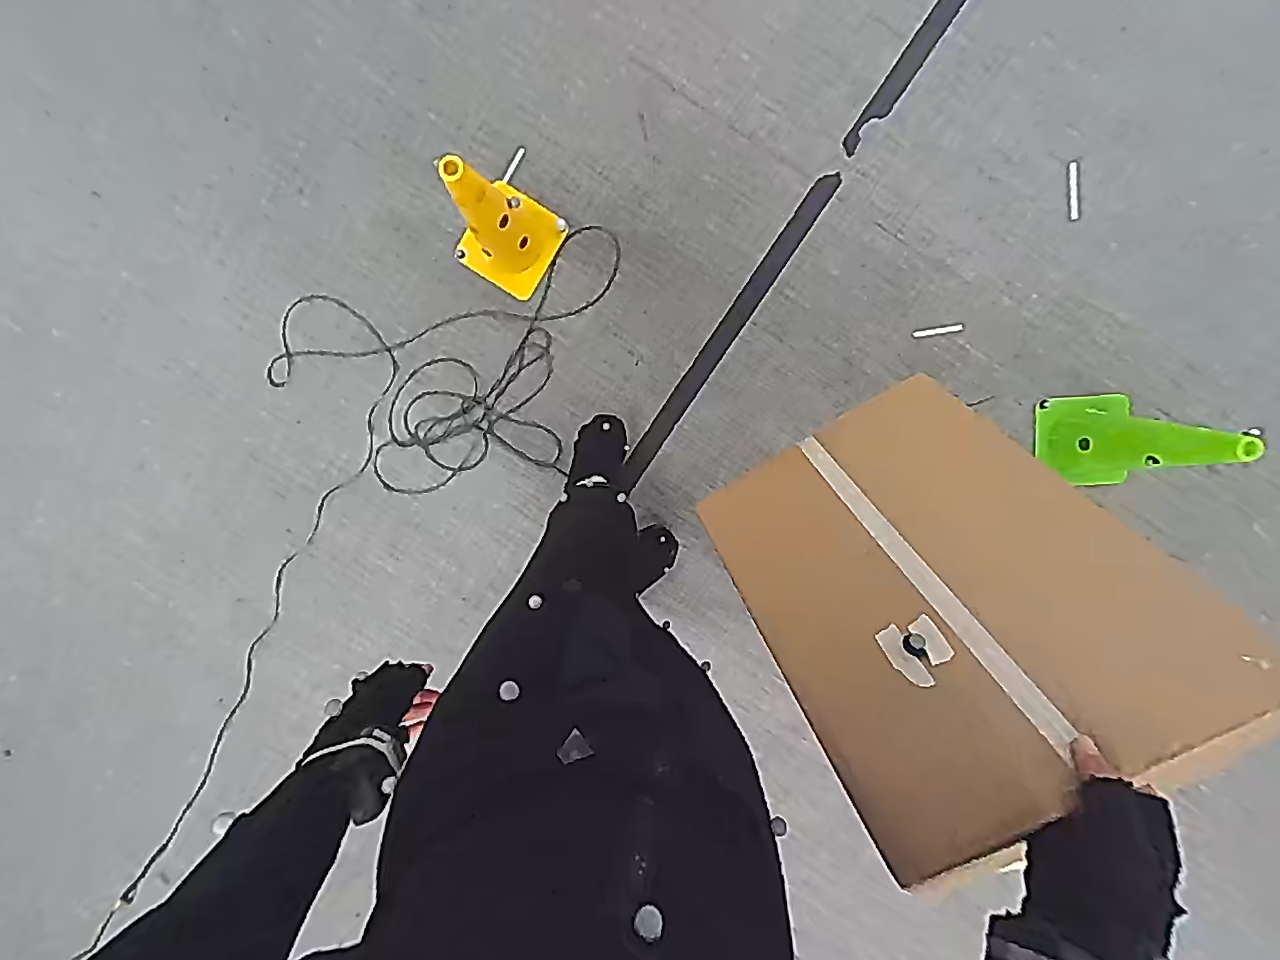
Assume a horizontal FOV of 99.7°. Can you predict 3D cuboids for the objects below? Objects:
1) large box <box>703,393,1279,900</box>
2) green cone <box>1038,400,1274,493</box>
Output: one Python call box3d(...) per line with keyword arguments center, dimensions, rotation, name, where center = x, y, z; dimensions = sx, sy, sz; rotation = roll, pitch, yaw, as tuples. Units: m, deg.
box3d(center=(0.325, 0.181, 0.620), dimensions=(0.320, 0.408, 0.320), rotation=(-30, 135, 6), name="large box")
box3d(center=(0.984, -0.053, 1.034), dimensions=(0.202, 0.368, 0.200), rotation=(-4, 96, 2), name="green cone")
